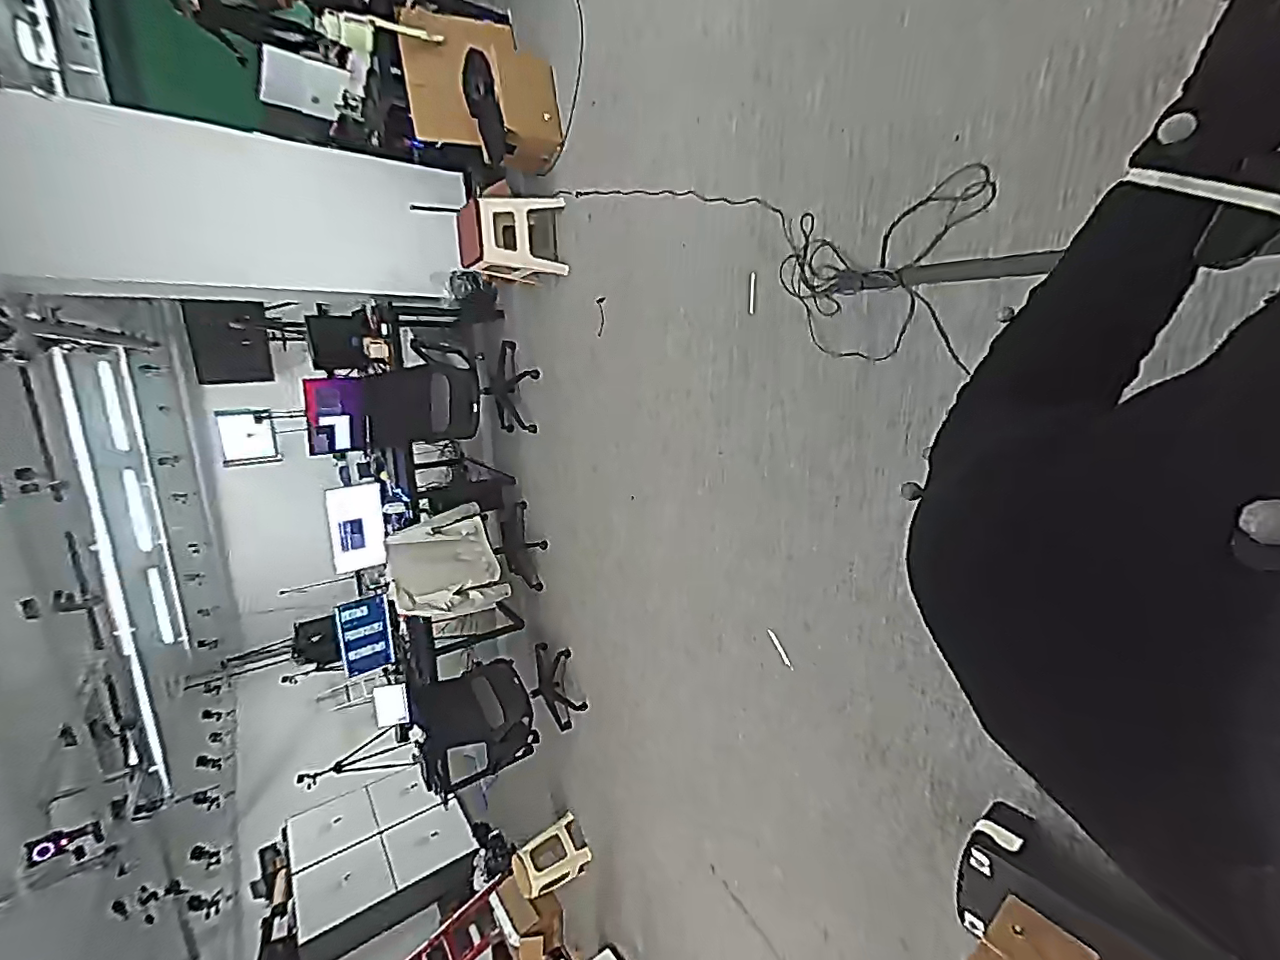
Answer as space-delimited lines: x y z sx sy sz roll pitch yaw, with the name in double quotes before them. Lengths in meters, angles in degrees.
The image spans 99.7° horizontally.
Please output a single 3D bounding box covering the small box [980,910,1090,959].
"small box" 0.891 1.103 1.218 0.179 0.176 0.168 17 113 51
